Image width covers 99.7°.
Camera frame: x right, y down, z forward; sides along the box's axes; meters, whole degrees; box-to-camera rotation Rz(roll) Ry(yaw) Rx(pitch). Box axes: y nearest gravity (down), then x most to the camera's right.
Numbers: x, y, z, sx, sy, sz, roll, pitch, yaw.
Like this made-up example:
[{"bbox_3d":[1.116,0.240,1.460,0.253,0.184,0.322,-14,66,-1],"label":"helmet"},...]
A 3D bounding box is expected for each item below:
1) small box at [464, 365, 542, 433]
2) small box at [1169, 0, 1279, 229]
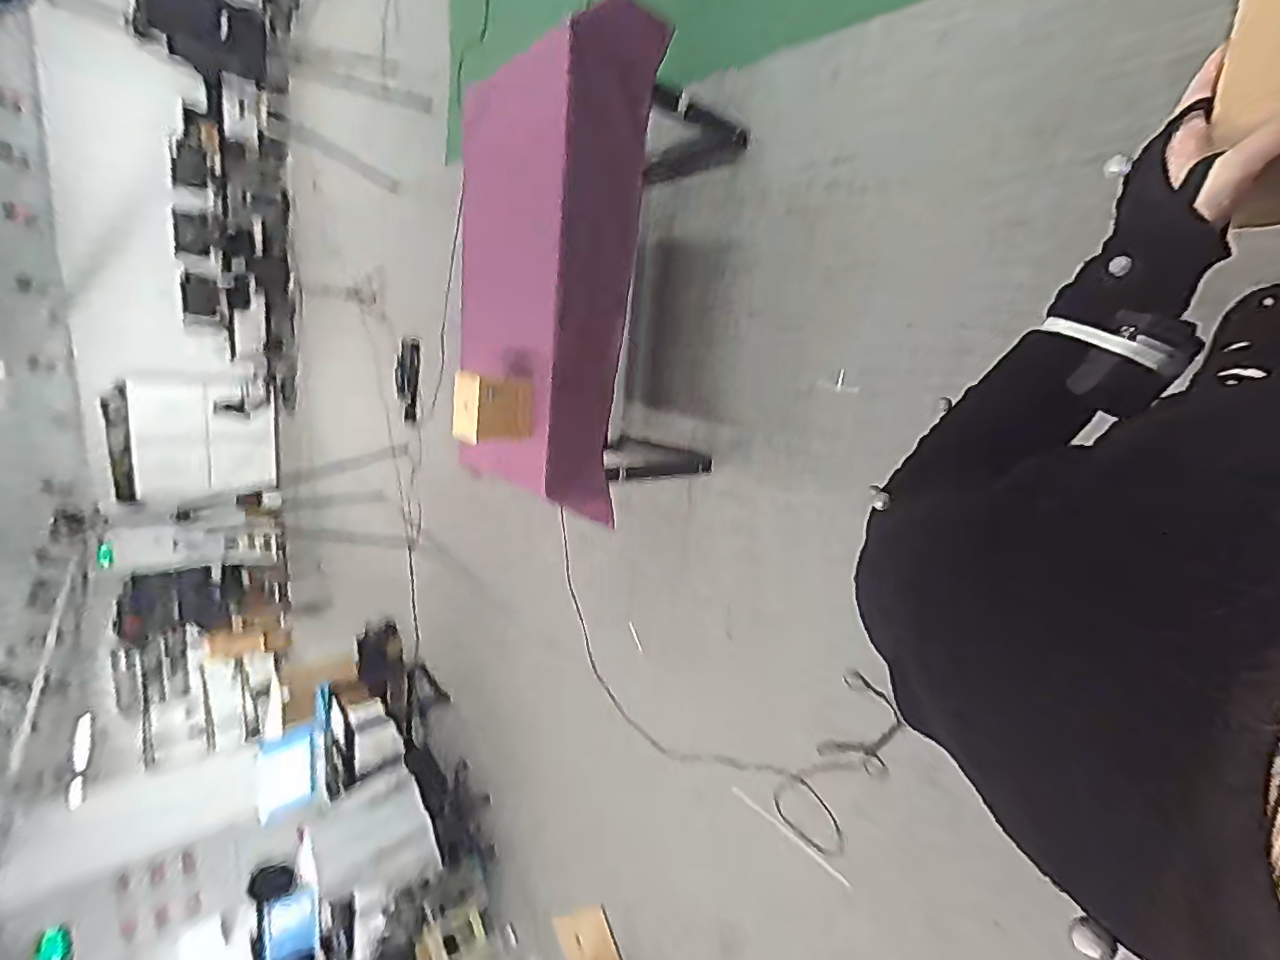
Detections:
[{"bbox_3d":[-0.403,-0.237,1.588,0.168,0.176,0.179,21,108,47],"label":"small box"},{"bbox_3d":[0.480,-0.274,0.341,0.179,0.176,0.168,16,104,46],"label":"small box"}]
